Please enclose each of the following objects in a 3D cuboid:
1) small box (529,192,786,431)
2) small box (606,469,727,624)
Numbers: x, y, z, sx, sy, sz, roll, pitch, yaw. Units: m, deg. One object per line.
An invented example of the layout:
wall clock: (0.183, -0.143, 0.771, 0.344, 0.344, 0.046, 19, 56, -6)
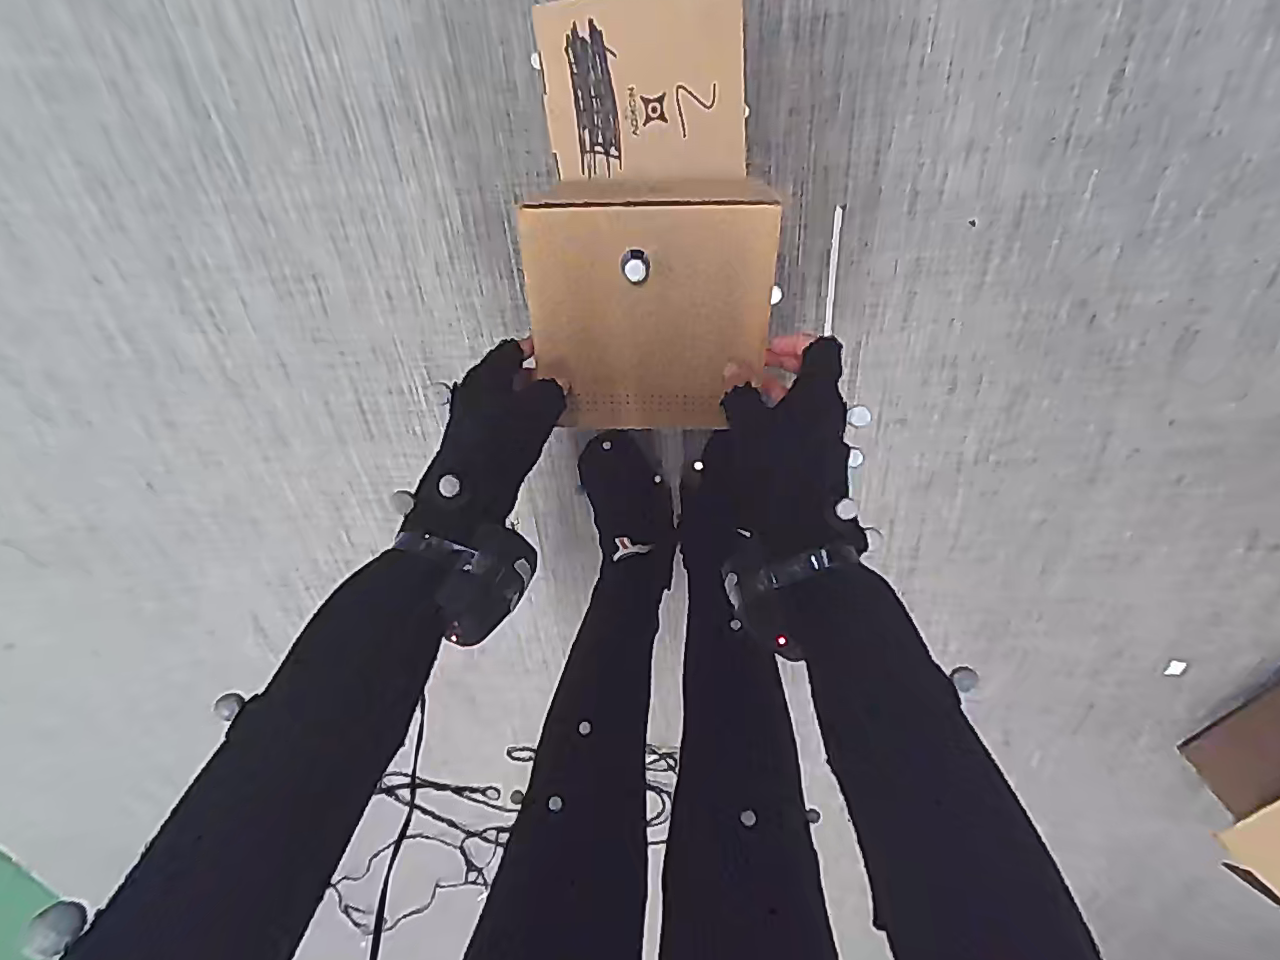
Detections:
small box: (0.018, -0.149, 0.470, 0.179, 0.168, 0.176, 0, 120, 4)
small box: (0.032, 0.099, 0.841, 0.168, 0.176, 0.179, -2, 122, -4)
